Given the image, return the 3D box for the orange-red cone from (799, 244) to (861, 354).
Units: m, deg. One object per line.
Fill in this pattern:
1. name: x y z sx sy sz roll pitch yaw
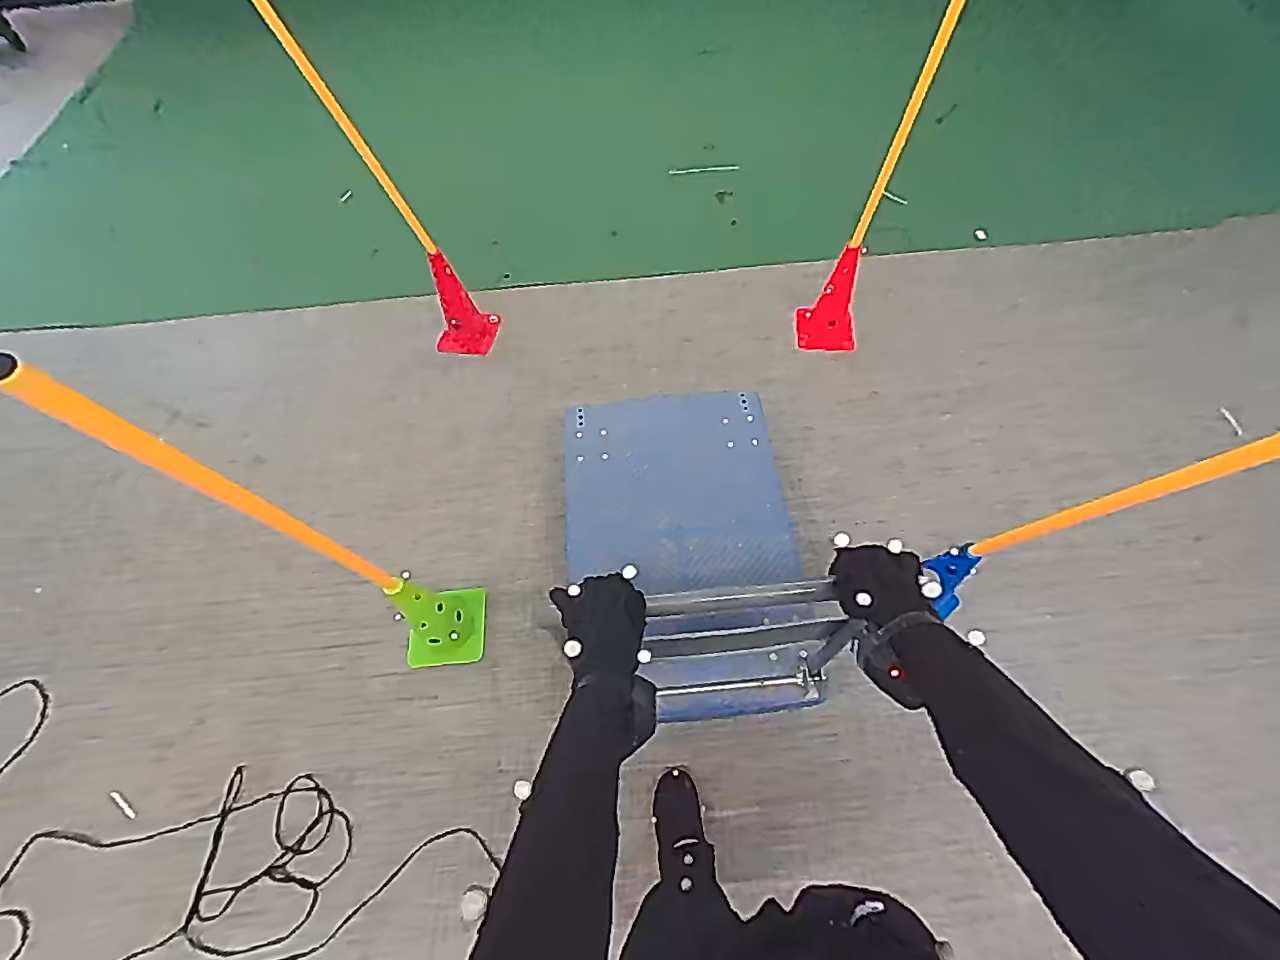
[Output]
1. orange-red cone: 0.656 -0.609 1.775 0.198 0.360 0.199 5 62 6
